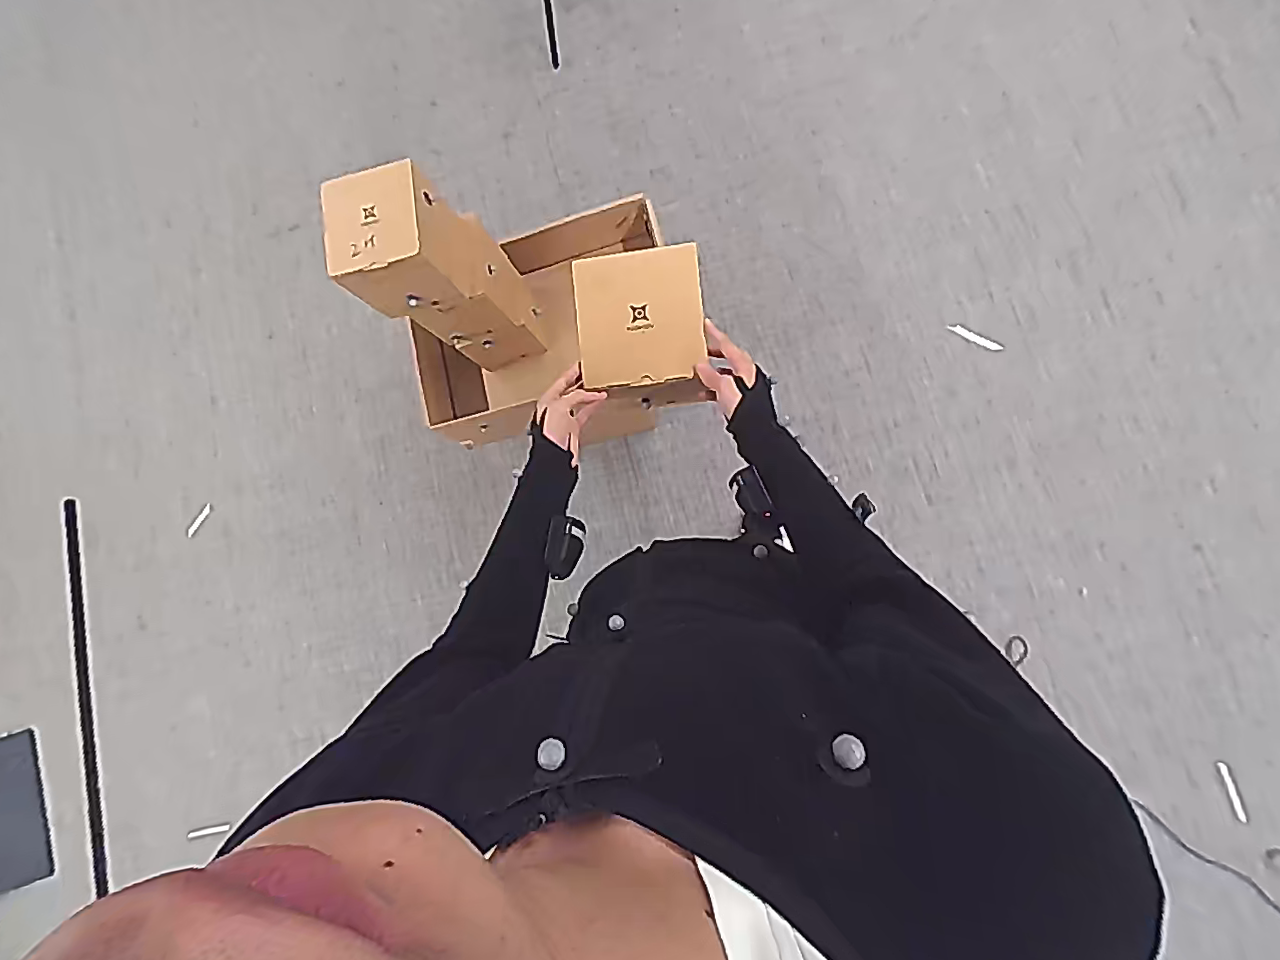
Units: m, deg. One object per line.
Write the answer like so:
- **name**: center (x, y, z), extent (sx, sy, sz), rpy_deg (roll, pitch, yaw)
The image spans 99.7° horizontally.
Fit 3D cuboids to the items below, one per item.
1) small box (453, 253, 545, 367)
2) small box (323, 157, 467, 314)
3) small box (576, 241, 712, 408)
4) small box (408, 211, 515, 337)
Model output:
- **small box**: center (-0.342, -0.392, 1.277), extent (0.168, 0.176, 0.179), rpy_deg (-18, 81, 7)
- **small box**: center (-0.426, -0.421, 0.958), extent (0.168, 0.176, 0.179), rpy_deg (-10, 83, 8)
- **small box**: center (0.011, -0.211, 0.777), extent (0.168, 0.176, 0.179), rpy_deg (-6, 88, 6)
- **small box**: center (-0.372, -0.411, 1.116), extent (0.168, 0.176, 0.179), rpy_deg (-11, 82, 7)
